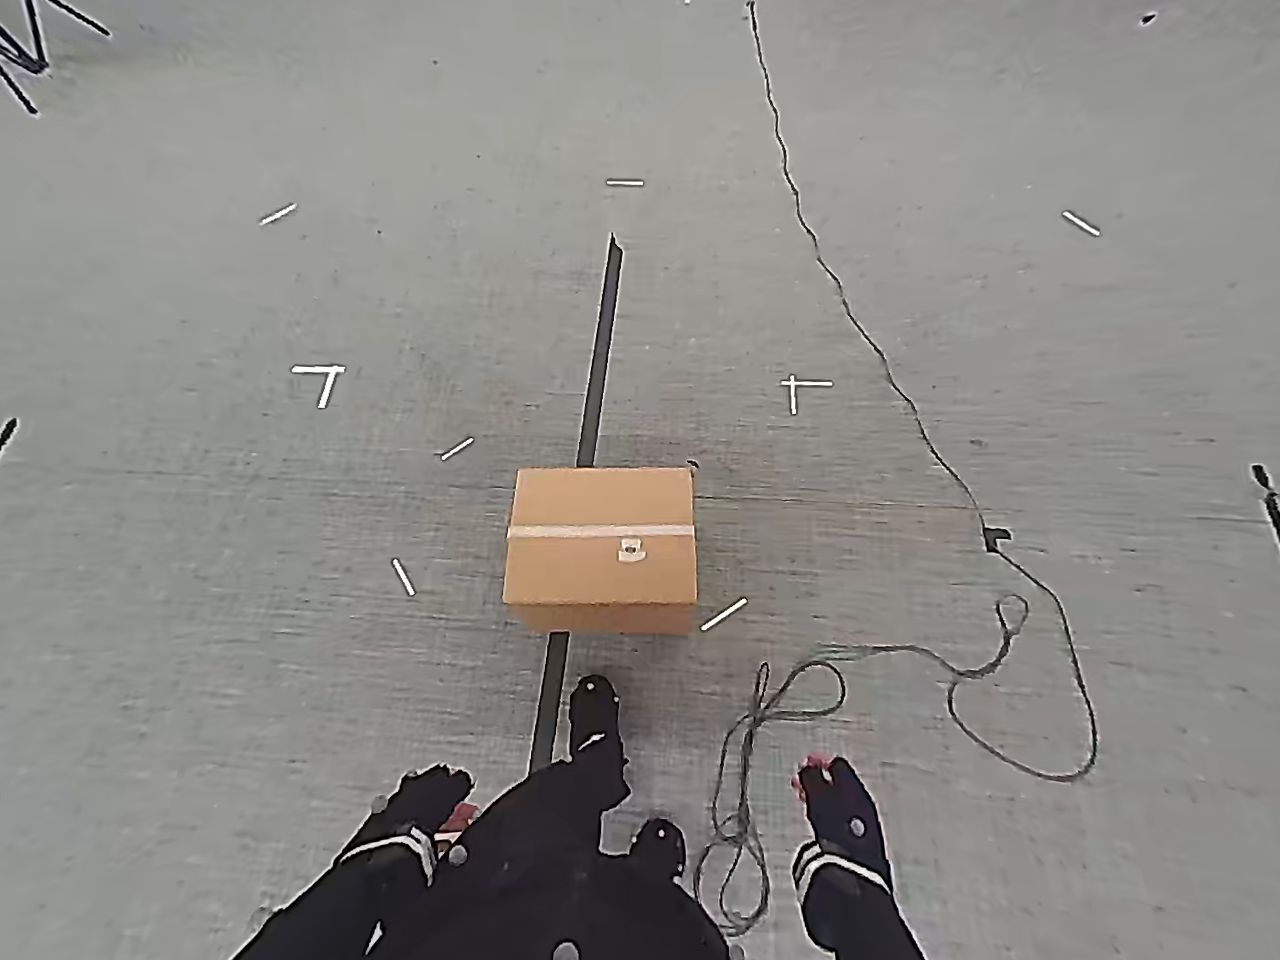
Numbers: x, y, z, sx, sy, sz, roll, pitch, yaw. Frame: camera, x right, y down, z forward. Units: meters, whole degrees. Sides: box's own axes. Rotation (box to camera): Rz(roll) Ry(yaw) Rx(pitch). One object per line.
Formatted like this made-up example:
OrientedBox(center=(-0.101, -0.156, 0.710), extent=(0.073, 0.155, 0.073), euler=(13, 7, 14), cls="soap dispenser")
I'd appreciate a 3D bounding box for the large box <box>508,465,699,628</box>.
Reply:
OrientedBox(center=(-0.074, 0.172, 1.317), extent=(0.408, 0.320, 0.320), euler=(1, 62, 2), cls="large box")
